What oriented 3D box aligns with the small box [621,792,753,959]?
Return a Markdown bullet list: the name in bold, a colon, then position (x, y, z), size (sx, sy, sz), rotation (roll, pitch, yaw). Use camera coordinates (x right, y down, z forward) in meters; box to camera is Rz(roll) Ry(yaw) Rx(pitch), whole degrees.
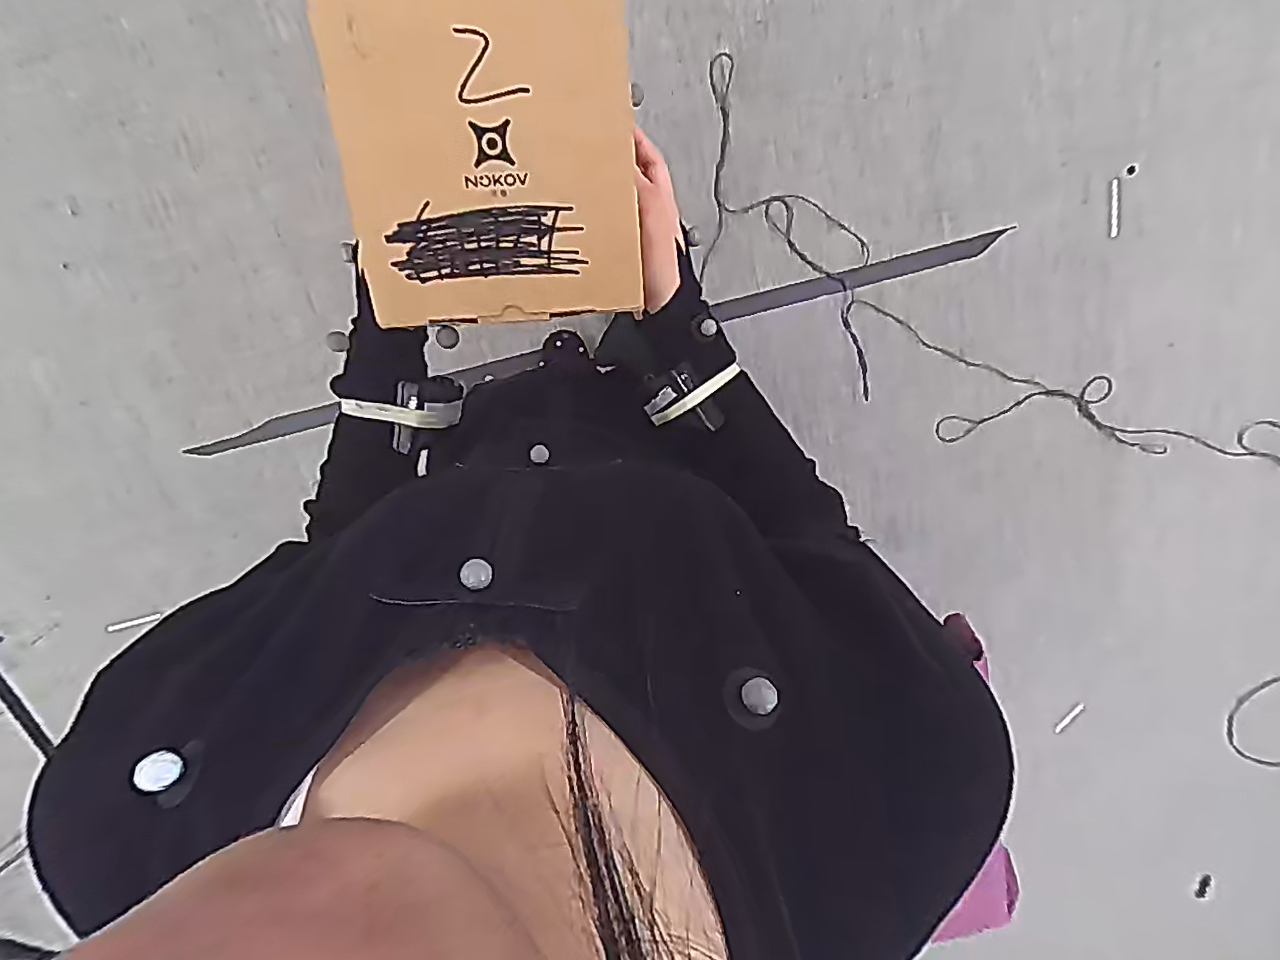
- **small box**: position (0.069, 0.644, 0.862), size (0.168, 0.176, 0.179), rotation (-13, 107, -2)
